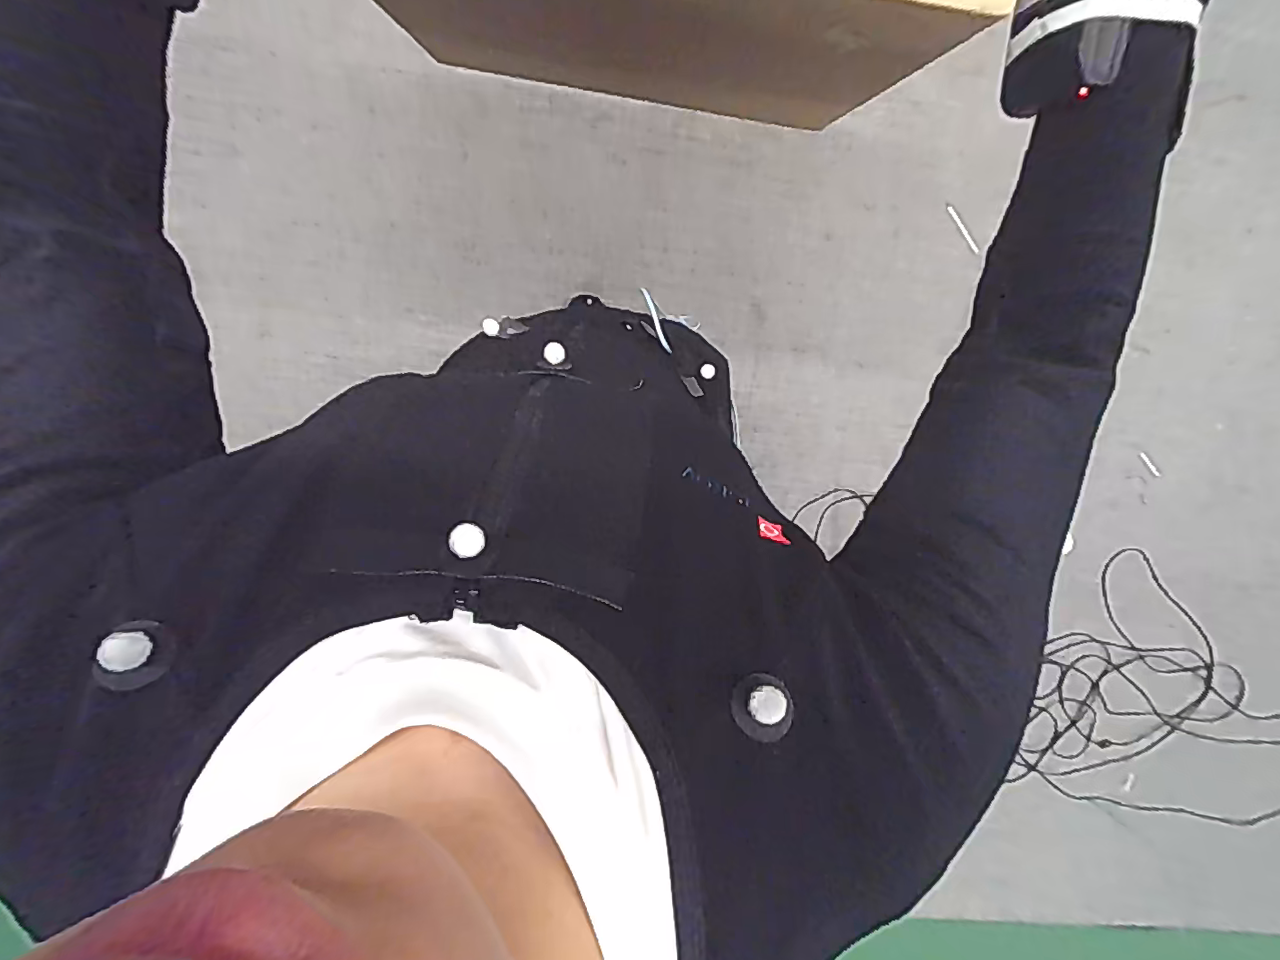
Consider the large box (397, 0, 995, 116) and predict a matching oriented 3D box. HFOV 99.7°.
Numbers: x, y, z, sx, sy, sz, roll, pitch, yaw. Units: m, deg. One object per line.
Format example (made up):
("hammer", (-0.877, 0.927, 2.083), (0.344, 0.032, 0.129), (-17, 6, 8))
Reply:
("large box", (0.022, -0.483, 0.362), (0.408, 0.320, 0.320), (6, 114, -5))
